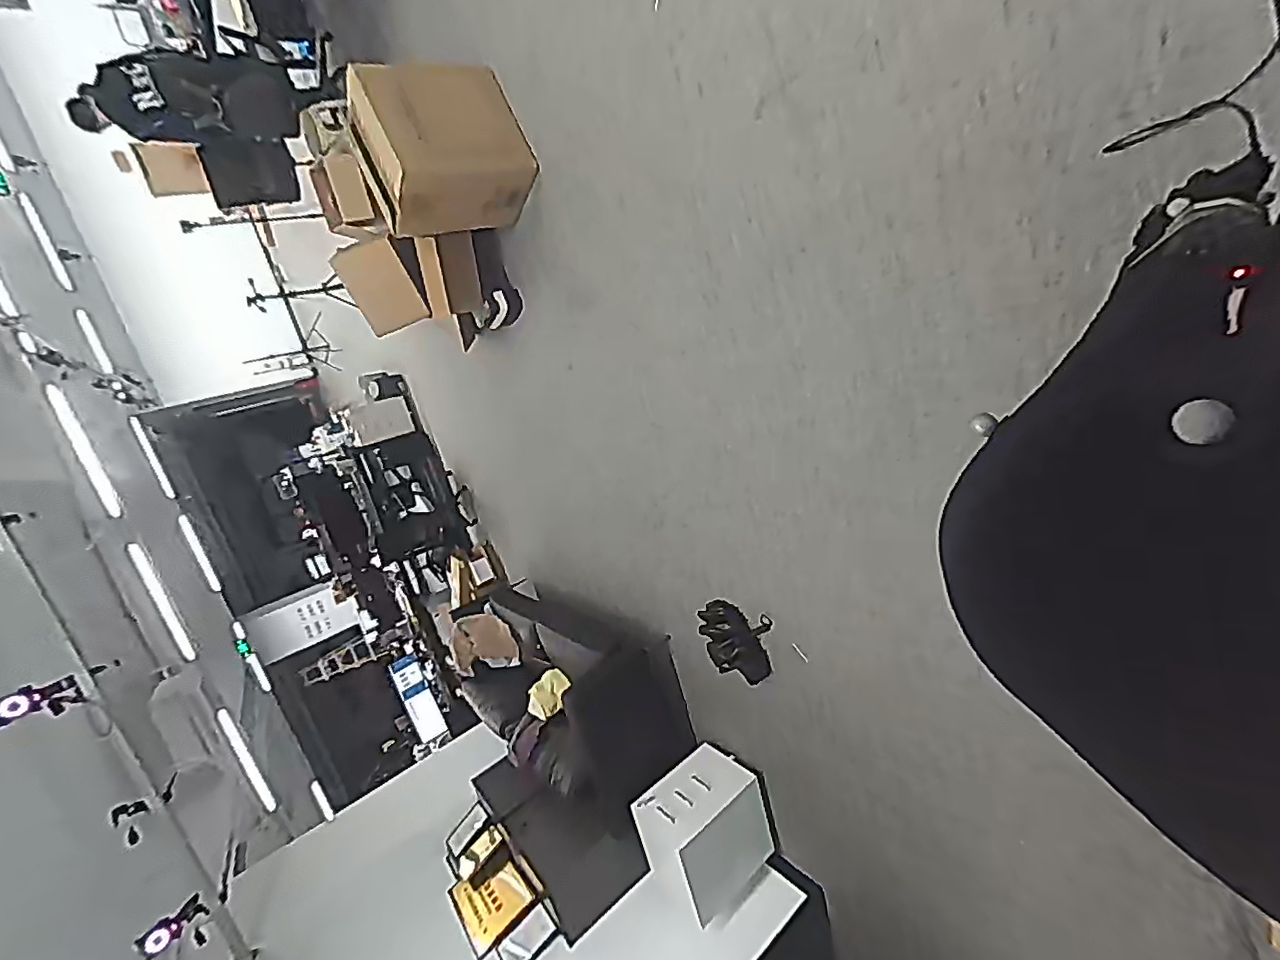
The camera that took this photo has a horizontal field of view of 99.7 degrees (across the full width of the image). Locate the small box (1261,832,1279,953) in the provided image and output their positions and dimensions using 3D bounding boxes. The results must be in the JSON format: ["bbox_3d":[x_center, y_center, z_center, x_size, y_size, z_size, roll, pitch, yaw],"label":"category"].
[{"bbox_3d":[1.254,0.762,0.957,0.179,0.176,0.168,-3,108,56],"label":"small box"}]
